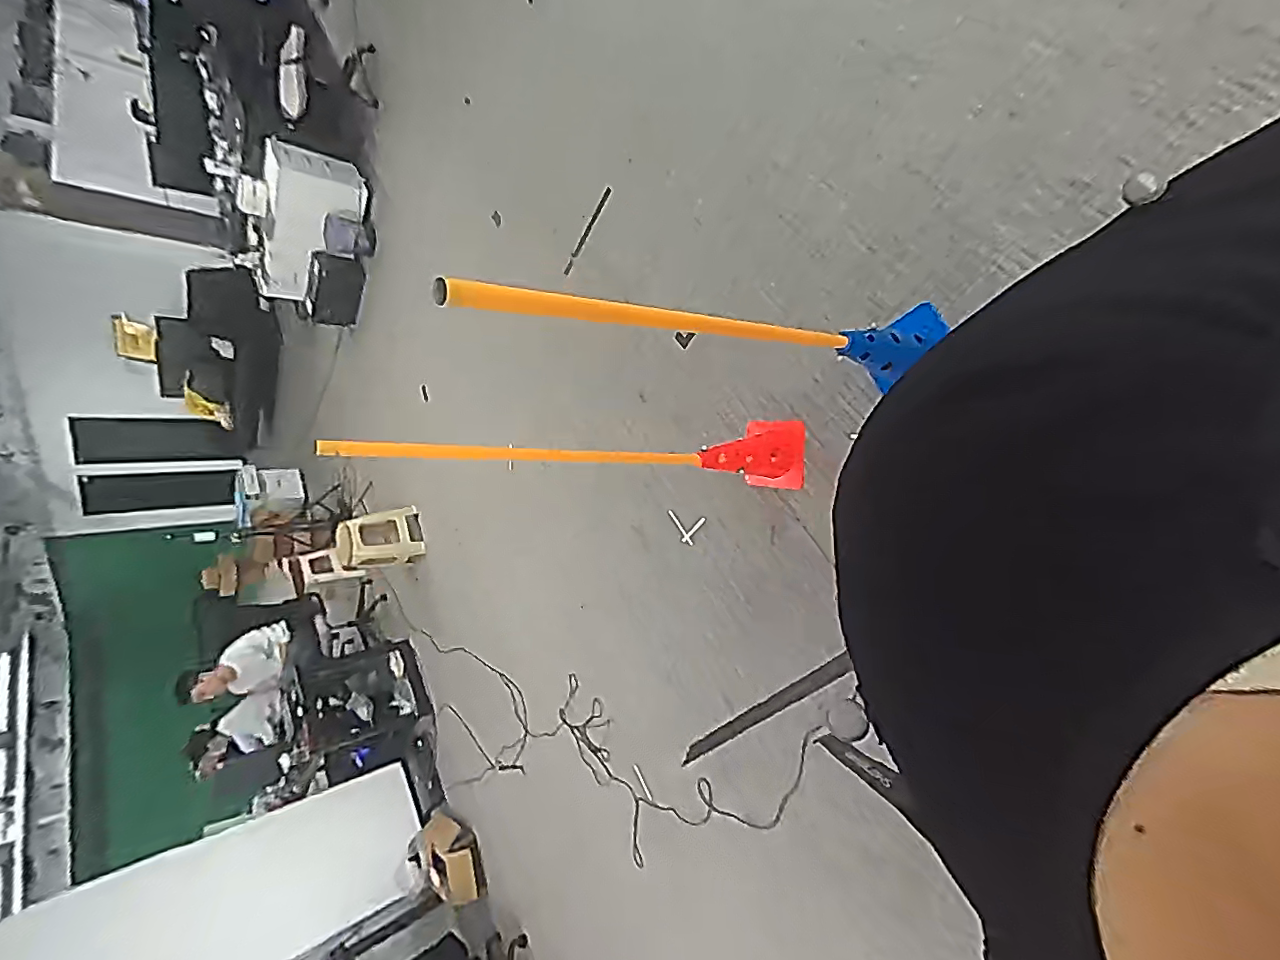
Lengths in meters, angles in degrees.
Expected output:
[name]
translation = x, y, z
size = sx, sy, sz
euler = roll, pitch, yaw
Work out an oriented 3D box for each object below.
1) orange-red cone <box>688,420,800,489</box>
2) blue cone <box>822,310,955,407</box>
[orange-red cone]
translation = 0.262, -0.066, 1.488
size = 0.199, 0.360, 0.198
euler = 8, 100, 45
[blue cone]
translation = 0.525, -0.284, 1.205
size = 0.192, 0.380, 0.193
euler = -35, 69, 44
